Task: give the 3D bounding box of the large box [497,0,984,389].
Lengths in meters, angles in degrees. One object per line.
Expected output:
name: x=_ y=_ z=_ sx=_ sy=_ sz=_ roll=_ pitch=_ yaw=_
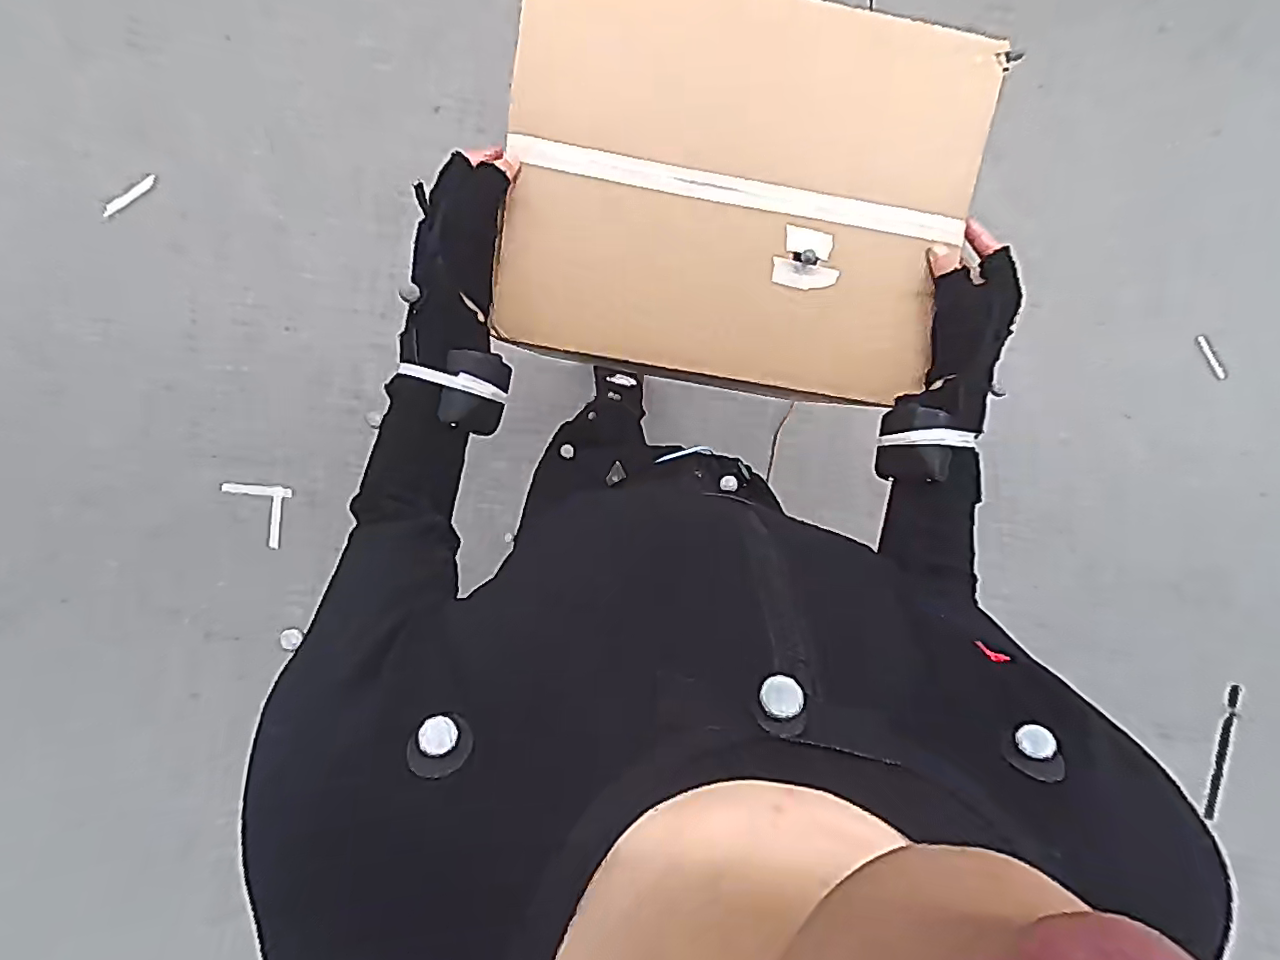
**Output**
large box: x=0.077 y=-0.290 z=0.630 sx=0.408 sy=0.320 sz=0.320 roll=9 pitch=101 yaw=-5
